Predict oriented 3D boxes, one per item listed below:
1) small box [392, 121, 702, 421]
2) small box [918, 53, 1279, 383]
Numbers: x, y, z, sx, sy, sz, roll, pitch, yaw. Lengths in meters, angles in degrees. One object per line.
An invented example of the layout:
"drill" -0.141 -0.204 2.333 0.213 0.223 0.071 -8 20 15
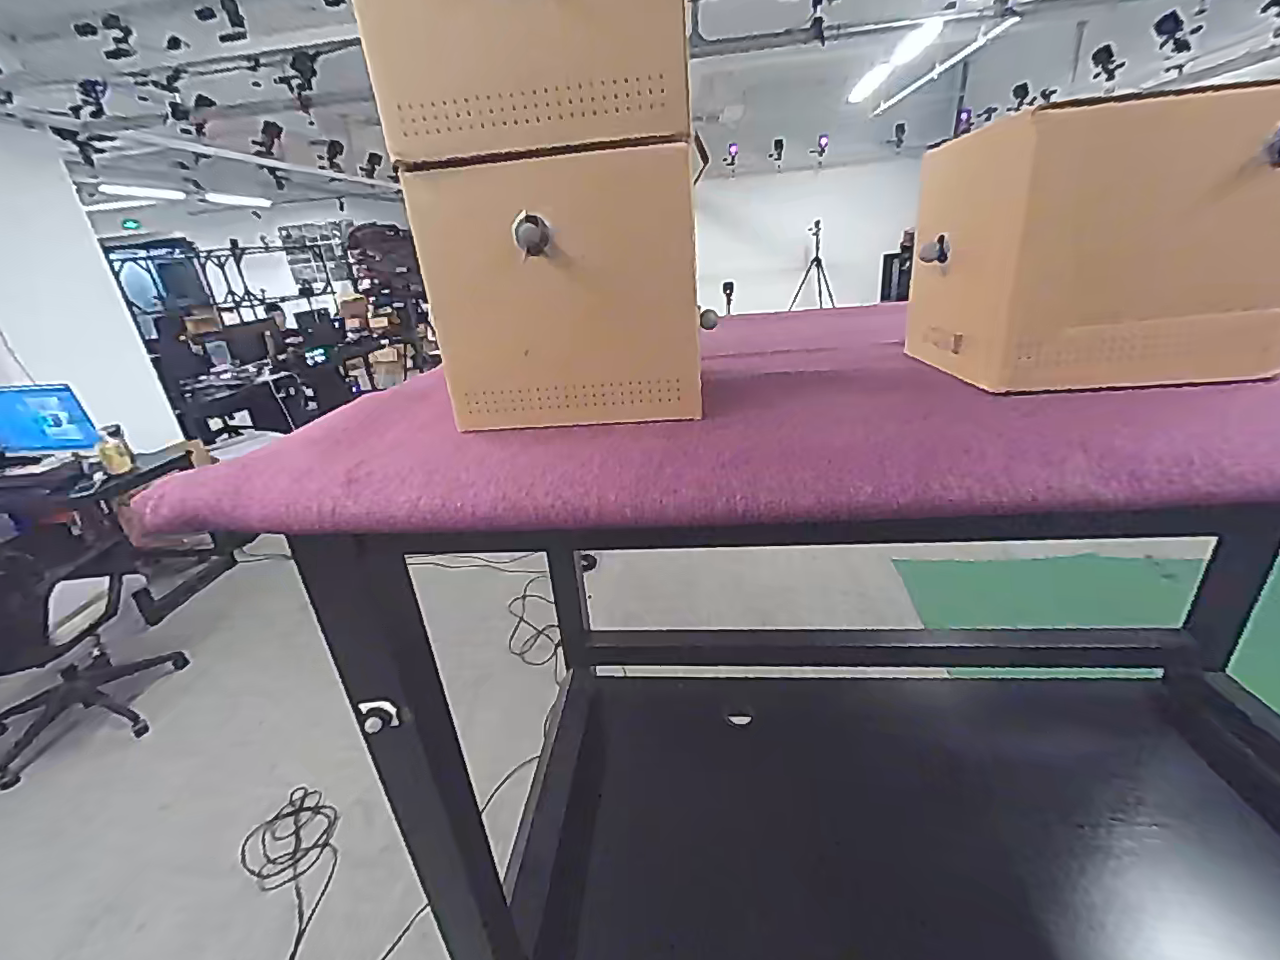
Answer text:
"small box" -0.046 -0.147 0.407 0.179 0.176 0.168 -2 25 6
"small box" 0.316 -0.168 0.385 0.179 0.176 0.168 -2 22 7
